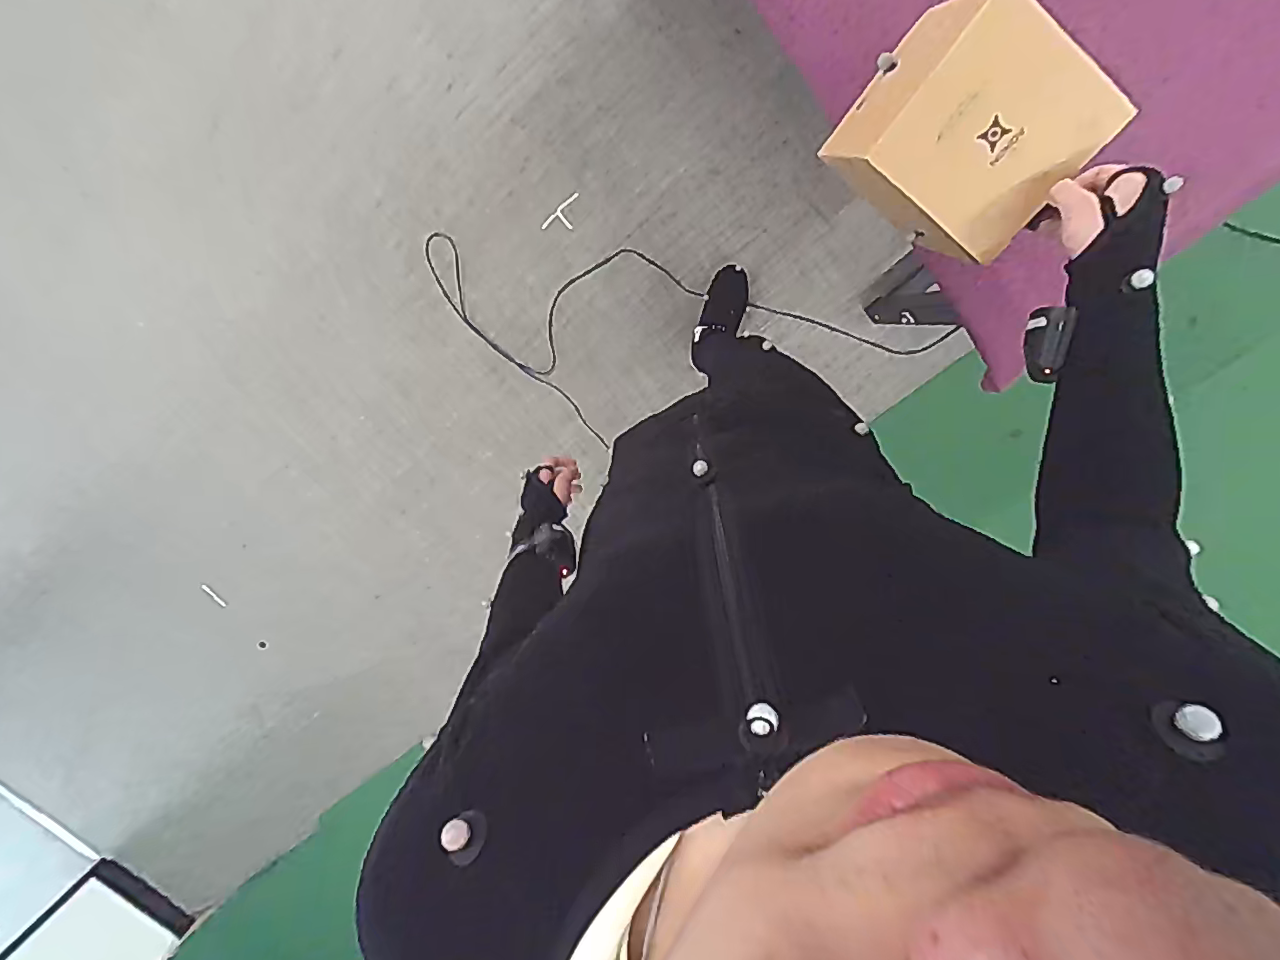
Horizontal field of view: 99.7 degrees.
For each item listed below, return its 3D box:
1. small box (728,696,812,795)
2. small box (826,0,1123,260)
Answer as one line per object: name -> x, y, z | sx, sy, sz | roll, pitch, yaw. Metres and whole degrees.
small box -> 0.373, 0.770, 1.593 | 0.168, 0.176, 0.179 | -36, 100, 14
small box -> 0.336, -0.372, 0.579 | 0.179, 0.176, 0.168 | 31, 117, -18
